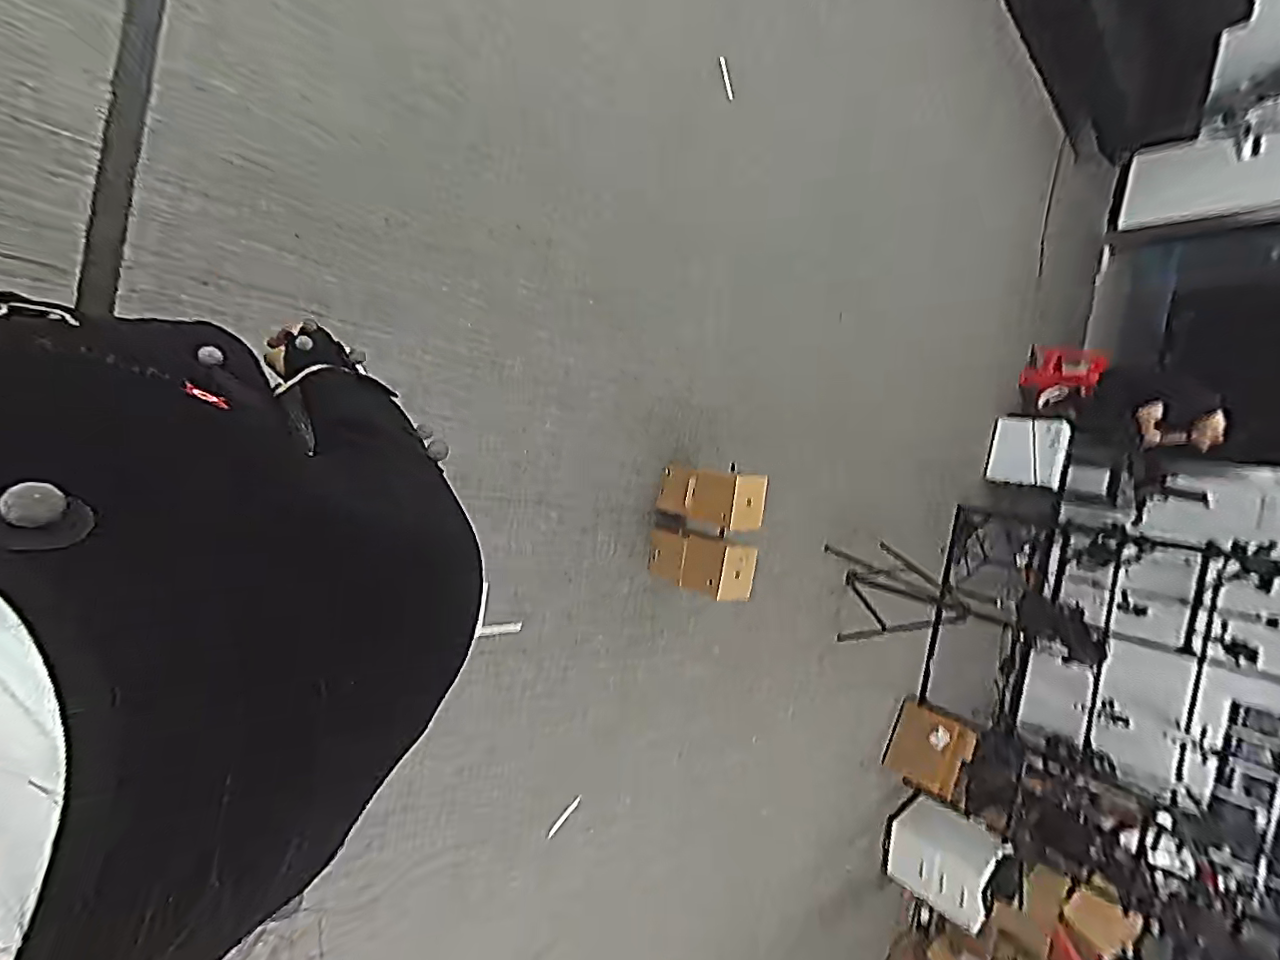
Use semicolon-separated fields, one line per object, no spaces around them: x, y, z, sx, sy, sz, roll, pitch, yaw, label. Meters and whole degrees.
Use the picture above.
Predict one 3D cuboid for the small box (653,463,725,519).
0.171;0.036;1.925;0.179;0.176;0.168;11;91;-42;small box
